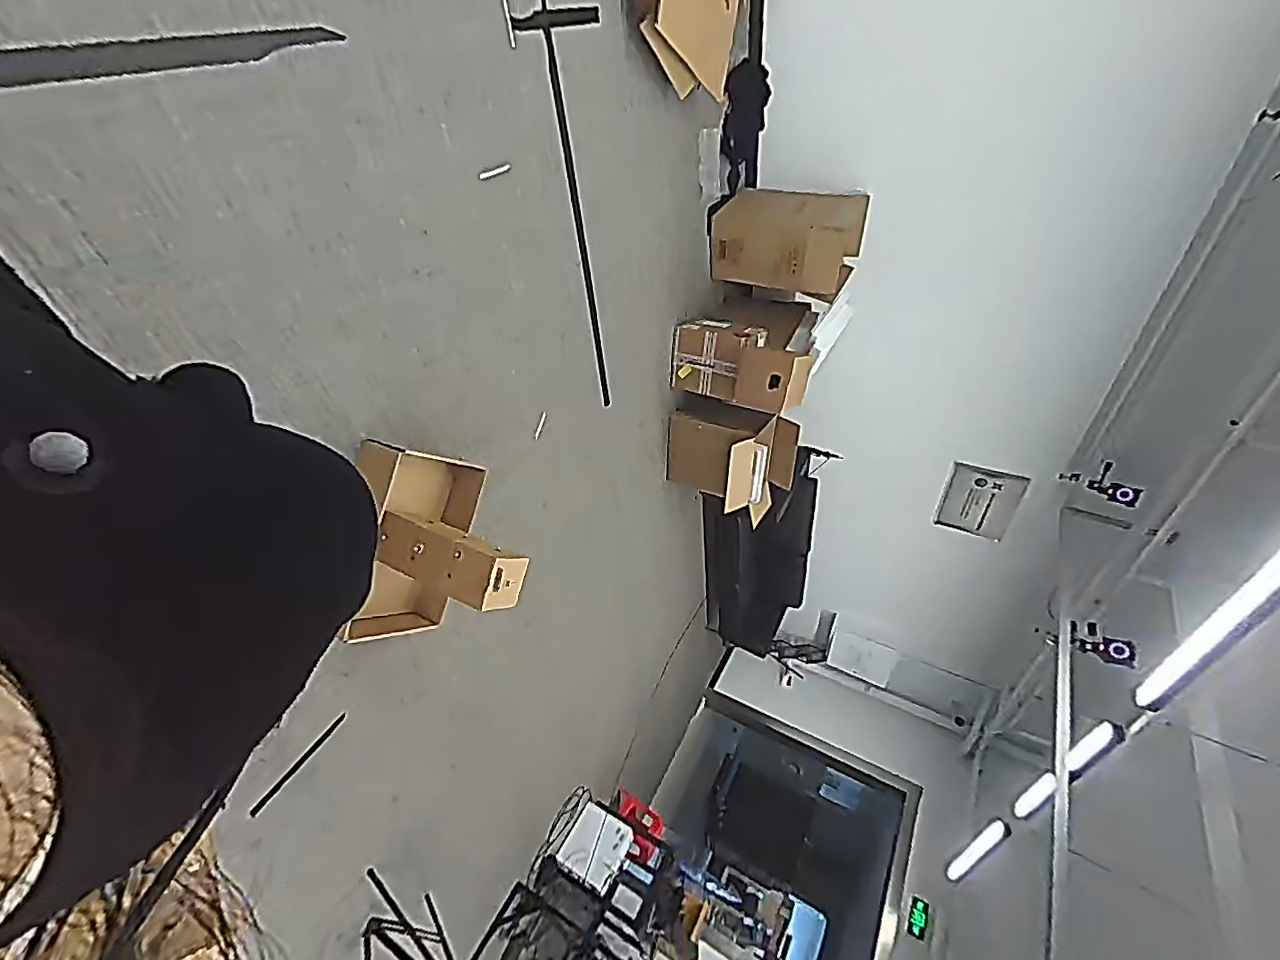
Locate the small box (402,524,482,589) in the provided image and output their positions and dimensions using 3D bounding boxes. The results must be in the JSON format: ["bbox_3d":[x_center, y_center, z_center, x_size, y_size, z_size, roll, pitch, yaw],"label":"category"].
[{"bbox_3d":[-0.631,0.246,1.753,0.179,0.176,0.168,20,86,-64],"label":"small box"}]

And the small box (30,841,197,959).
[{"bbox_3d":[-1.041,0.858,1.071,0.168,0.176,0.179,27,81,-64],"label":"small box"}]

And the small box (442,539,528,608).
[{"bbox_3d":[-0.485,0.288,1.688,0.179,0.176,0.168,18,89,-67],"label":"small box"}]

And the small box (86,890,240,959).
[{"bbox_3d":[-0.901,0.910,1.002,0.168,0.176,0.179,27,80,-64],"label":"small box"}]

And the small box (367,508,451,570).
[{"bbox_3d":[-0.771,0.201,1.819,0.179,0.176,0.168,24,83,-65],"label":"small box"}]
